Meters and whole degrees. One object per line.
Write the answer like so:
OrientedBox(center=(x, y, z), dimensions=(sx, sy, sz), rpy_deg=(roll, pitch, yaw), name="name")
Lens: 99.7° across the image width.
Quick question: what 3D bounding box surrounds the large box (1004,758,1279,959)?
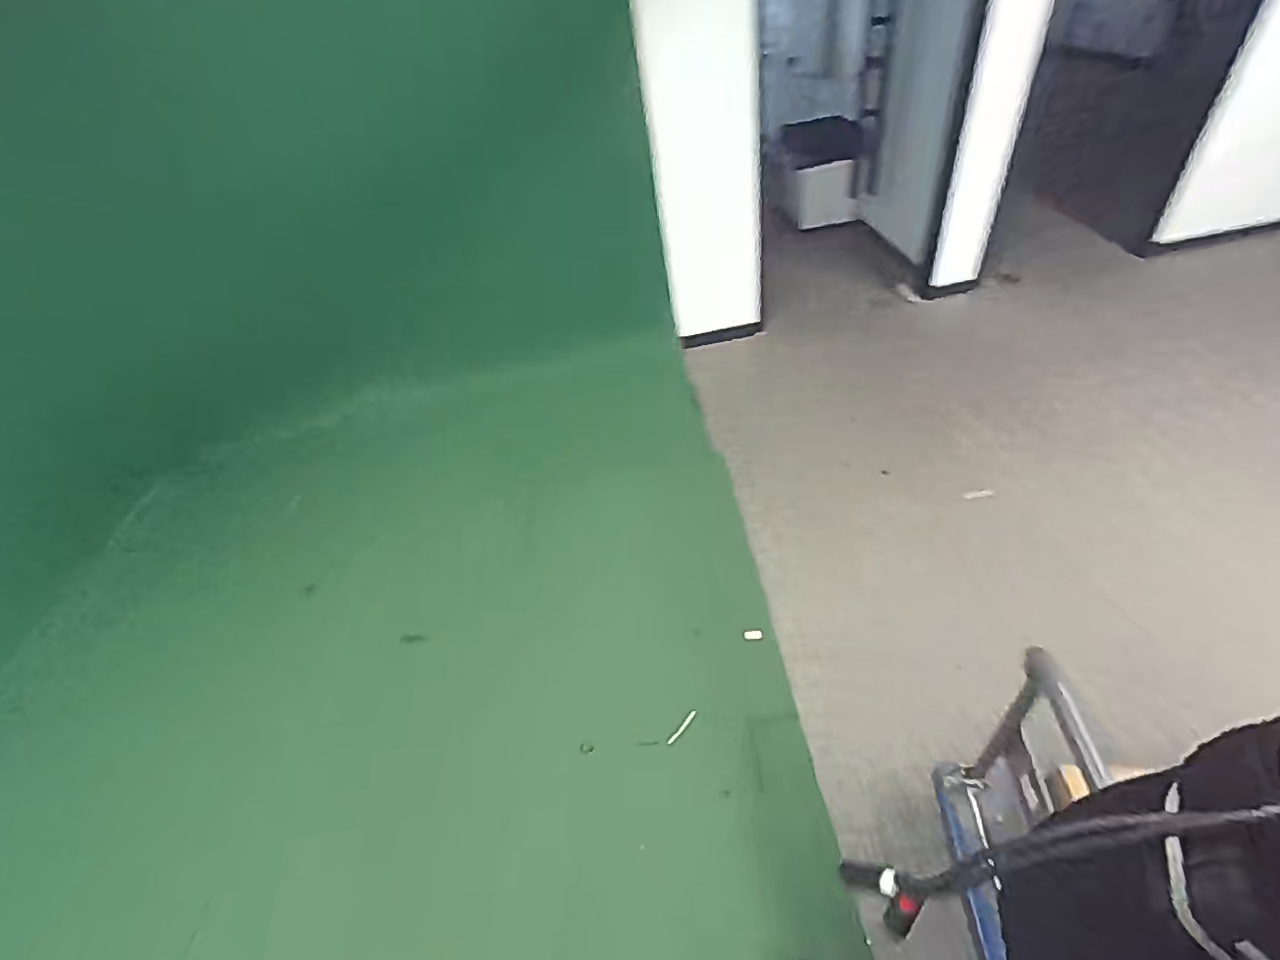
OrientedBox(center=(0.957, 0.715, 0.950), dimensions=(0.408, 0.320, 0.320), rpy_deg=(-2, 45, 10), name="large box")
